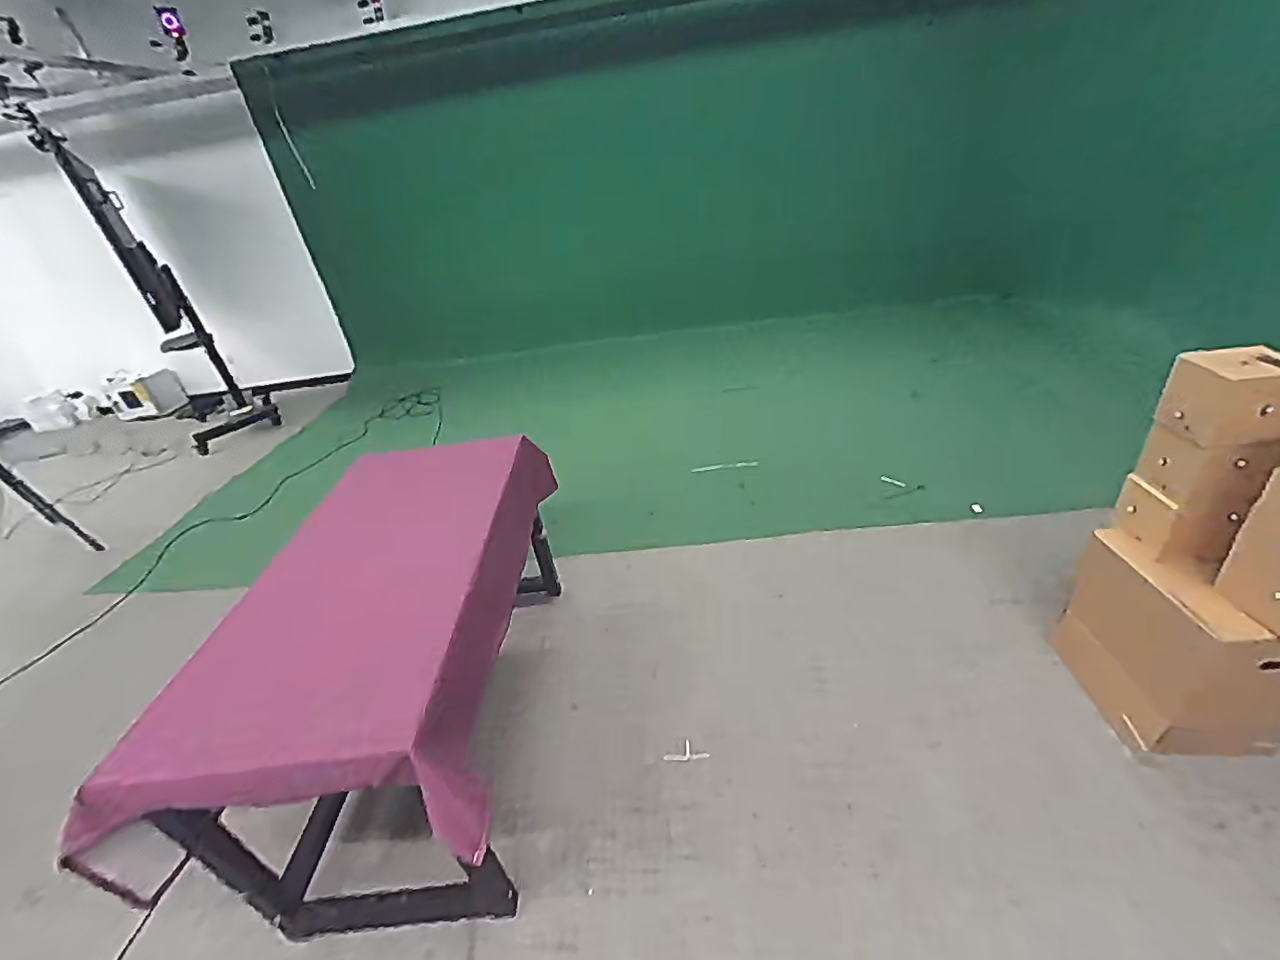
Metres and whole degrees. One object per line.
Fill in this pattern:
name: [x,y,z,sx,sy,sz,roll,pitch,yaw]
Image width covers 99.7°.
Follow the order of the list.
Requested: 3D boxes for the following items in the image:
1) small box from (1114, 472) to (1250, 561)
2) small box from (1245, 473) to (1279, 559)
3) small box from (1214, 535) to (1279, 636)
small box: [1.391,0.097,1.409,0.179,0.176,0.168,-4,33,6]
small box: [1.420,0.092,1.095,0.168,0.176,0.179,-5,30,5]
small box: [1.440,0.231,1.180,0.168,0.176,0.179,-5,30,4]
